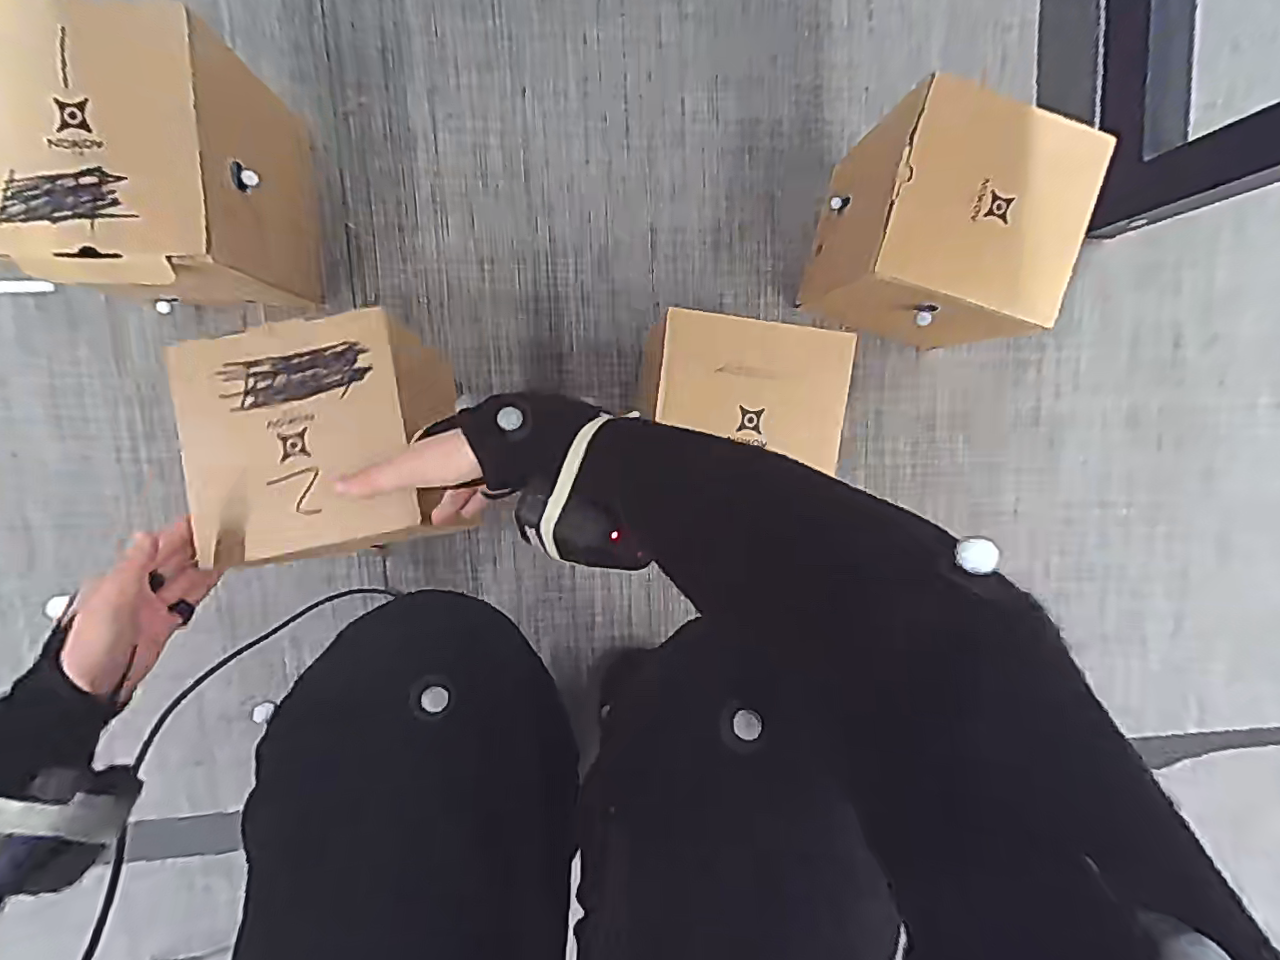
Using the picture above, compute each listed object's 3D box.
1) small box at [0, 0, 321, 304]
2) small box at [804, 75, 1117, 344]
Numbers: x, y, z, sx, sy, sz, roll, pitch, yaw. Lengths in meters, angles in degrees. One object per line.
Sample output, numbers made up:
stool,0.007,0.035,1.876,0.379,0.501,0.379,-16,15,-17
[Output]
small box,-0.395,-0.252,0.458,0.168,0.176,0.179,-2,96,-6
small box,0.292,-0.239,0.533,0.179,0.176,0.168,14,96,-7
